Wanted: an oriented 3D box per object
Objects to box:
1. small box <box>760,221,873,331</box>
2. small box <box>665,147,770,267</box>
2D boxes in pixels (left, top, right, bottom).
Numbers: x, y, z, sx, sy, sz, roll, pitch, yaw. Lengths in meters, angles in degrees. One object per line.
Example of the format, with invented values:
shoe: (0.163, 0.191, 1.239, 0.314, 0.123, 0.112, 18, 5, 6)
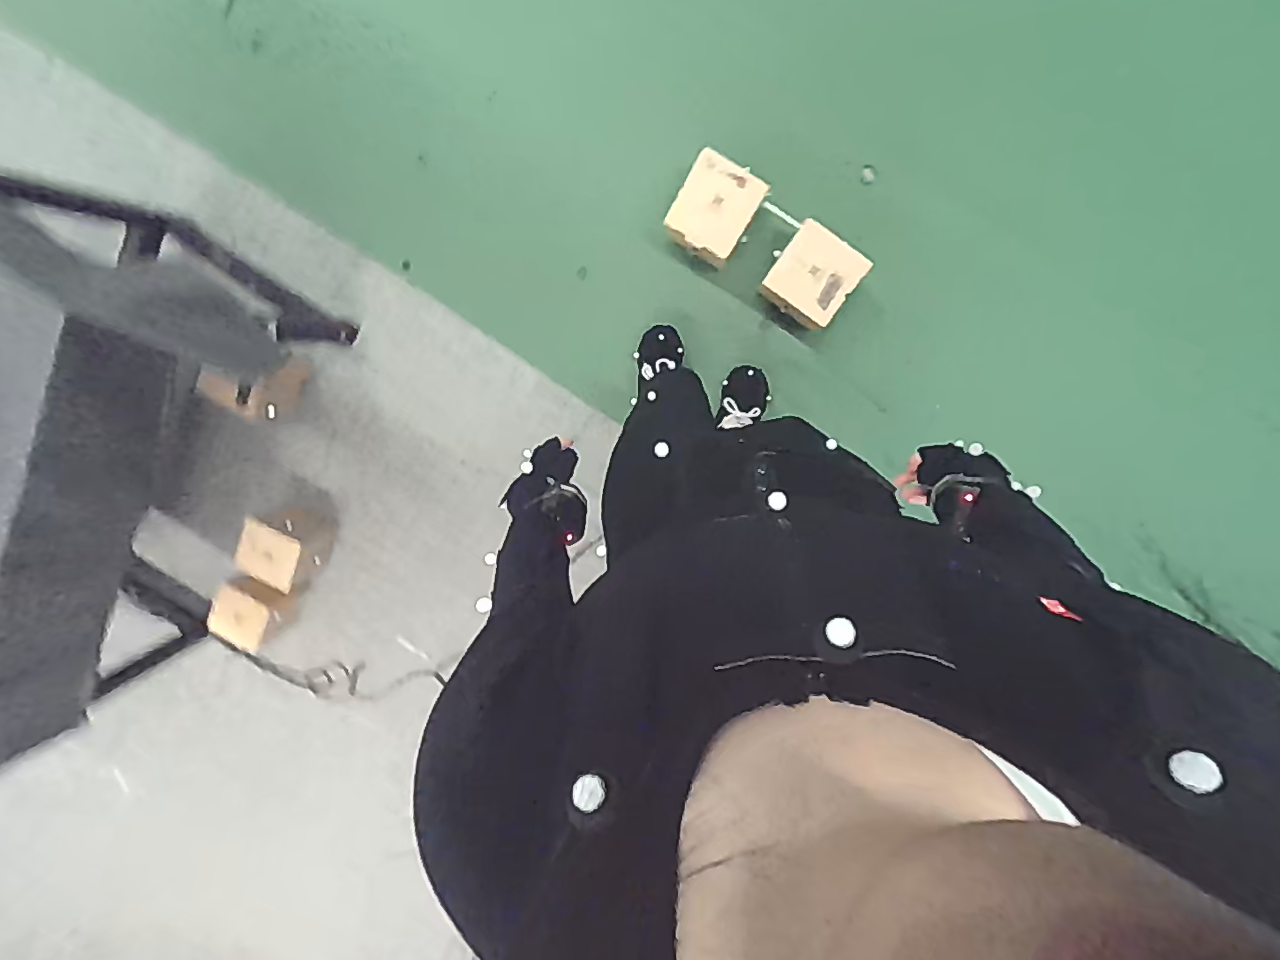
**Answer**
small box: (0.400, -0.466, 1.259, 0.179, 0.176, 0.168, 36, 105, -2)
small box: (0.179, -0.617, 1.250, 0.168, 0.176, 0.179, 33, 107, -1)
